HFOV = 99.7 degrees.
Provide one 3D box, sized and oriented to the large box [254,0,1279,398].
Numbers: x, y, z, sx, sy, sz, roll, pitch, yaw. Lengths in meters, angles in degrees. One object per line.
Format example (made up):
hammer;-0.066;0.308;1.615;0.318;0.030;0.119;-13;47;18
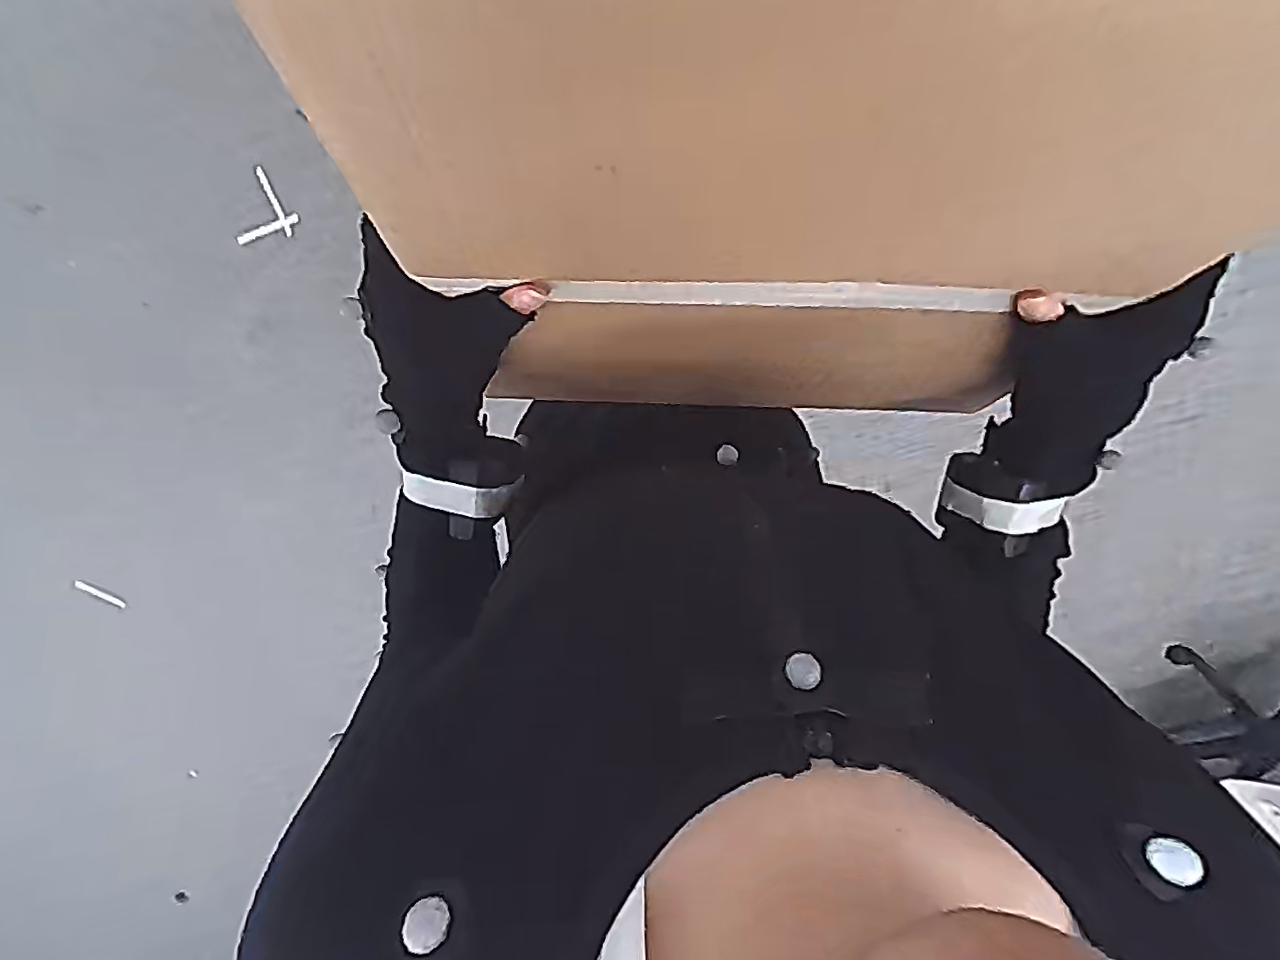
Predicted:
large box;0.073;-0.256;0.345;0.408;0.320;0.320;1;75;-1
